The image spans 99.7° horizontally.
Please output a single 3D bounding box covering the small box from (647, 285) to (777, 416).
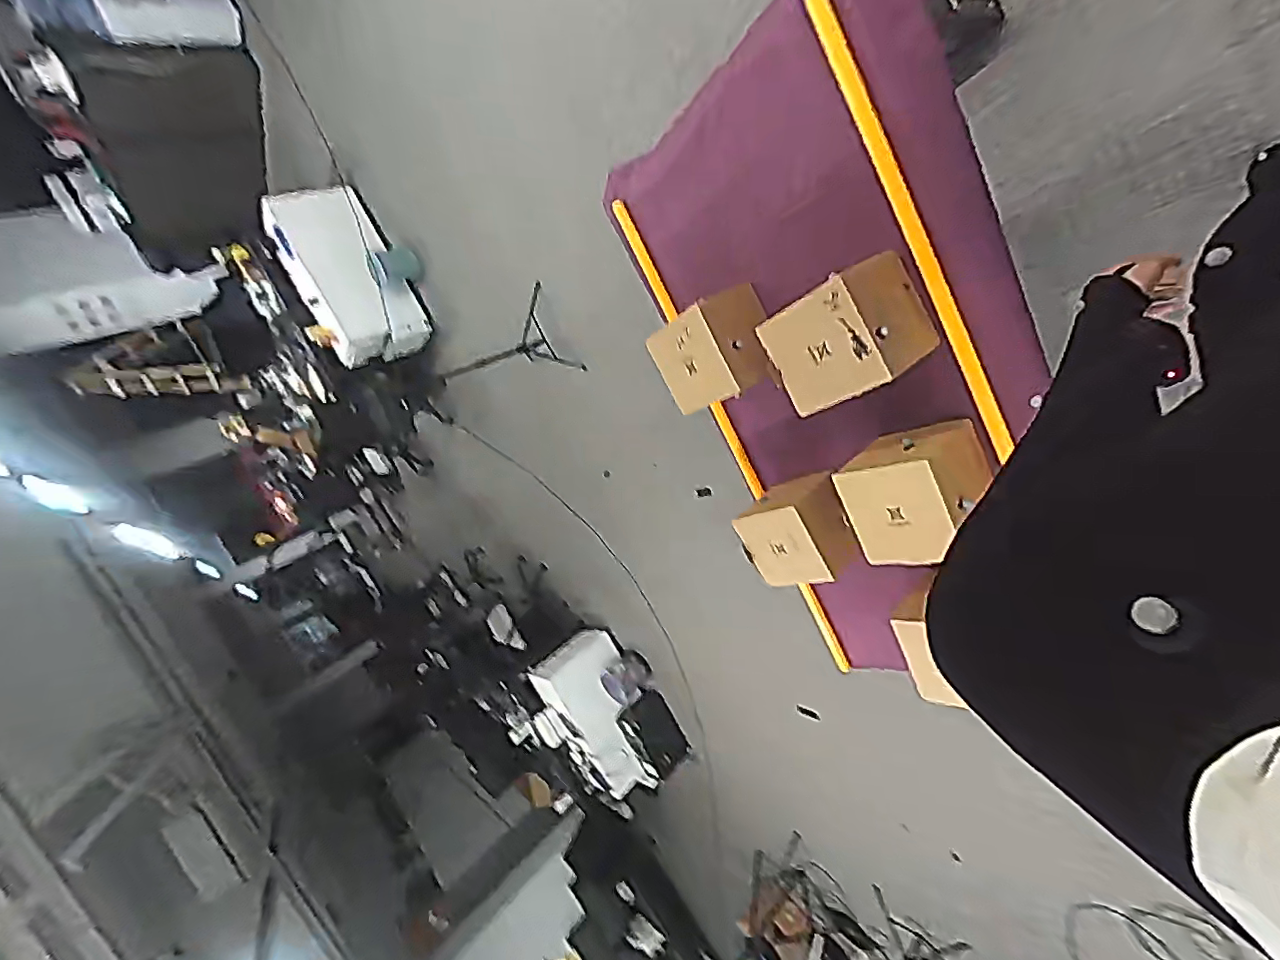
[{"bbox_3d":[0.153,-0.253,1.063,0.168,0.176,0.179,-20,101,54],"label":"small box"}]

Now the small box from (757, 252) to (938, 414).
[{"bbox_3d":[0.328,-0.231,0.860,0.168,0.176,0.179,60,149,-5],"label":"small box"}]

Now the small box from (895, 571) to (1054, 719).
[{"bbox_3d":[0.582,0.272,0.939,0.168,0.176,0.179,-12,107,55],"label":"small box"}]

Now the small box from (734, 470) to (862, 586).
[{"bbox_3d":[0.335,0.101,1.118,0.179,0.176,0.168,-23,98,55],"label":"small box"}]

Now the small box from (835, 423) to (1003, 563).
[{"bbox_3d":[0.462,0.019,0.894,0.168,0.176,0.179,-15,105,55],"label":"small box"}]
